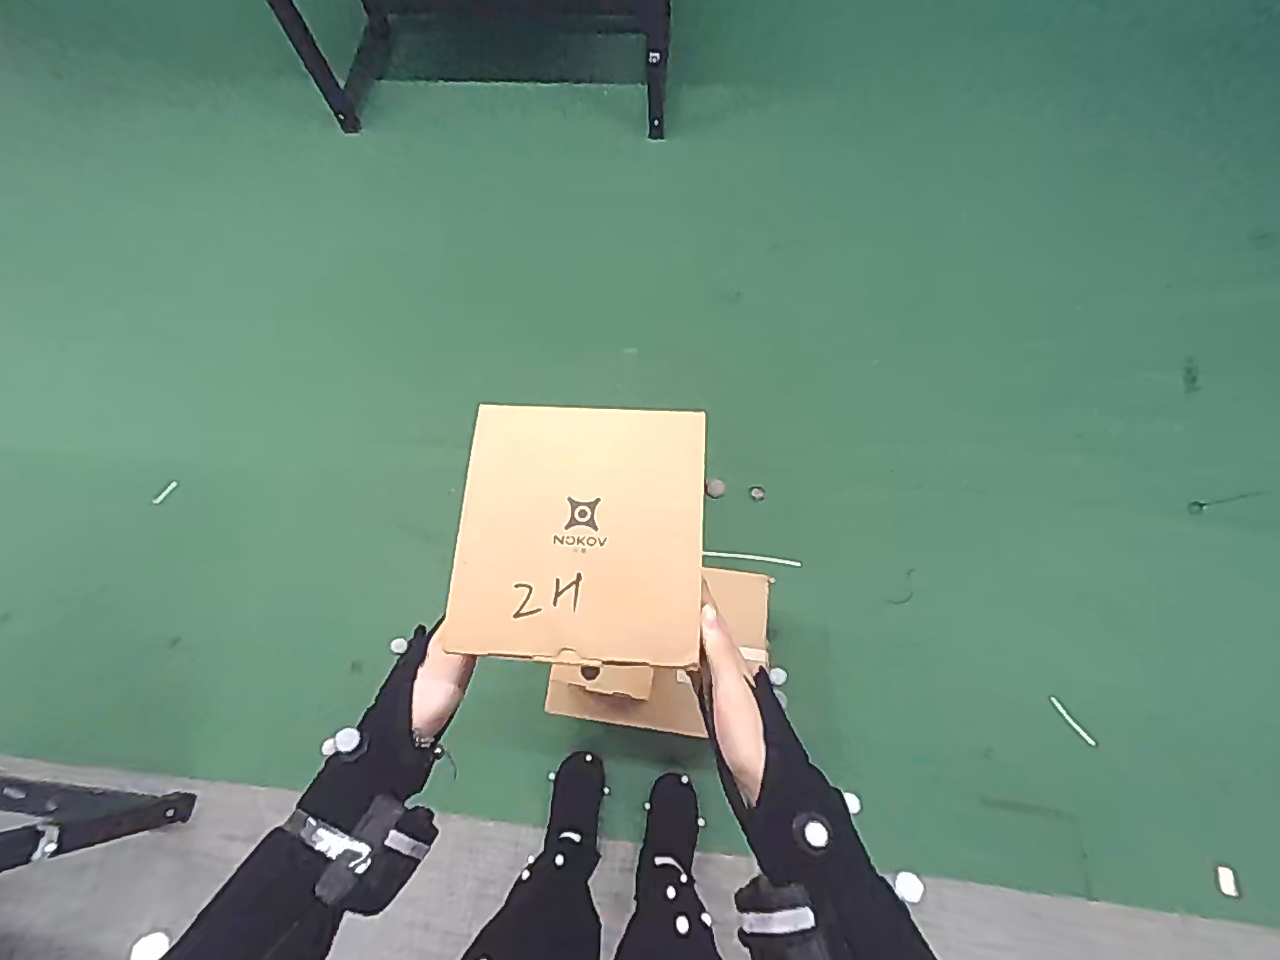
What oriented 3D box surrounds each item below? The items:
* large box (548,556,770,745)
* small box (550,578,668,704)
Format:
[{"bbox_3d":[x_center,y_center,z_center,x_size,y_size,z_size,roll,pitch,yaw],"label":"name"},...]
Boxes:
[{"bbox_3d":[0.047,0.368,1.171,0.408,0.320,0.320,6,70,5],"label":"large box"},{"bbox_3d":[-0.046,0.284,0.947,0.168,0.176,0.179,8,71,6],"label":"small box"}]
